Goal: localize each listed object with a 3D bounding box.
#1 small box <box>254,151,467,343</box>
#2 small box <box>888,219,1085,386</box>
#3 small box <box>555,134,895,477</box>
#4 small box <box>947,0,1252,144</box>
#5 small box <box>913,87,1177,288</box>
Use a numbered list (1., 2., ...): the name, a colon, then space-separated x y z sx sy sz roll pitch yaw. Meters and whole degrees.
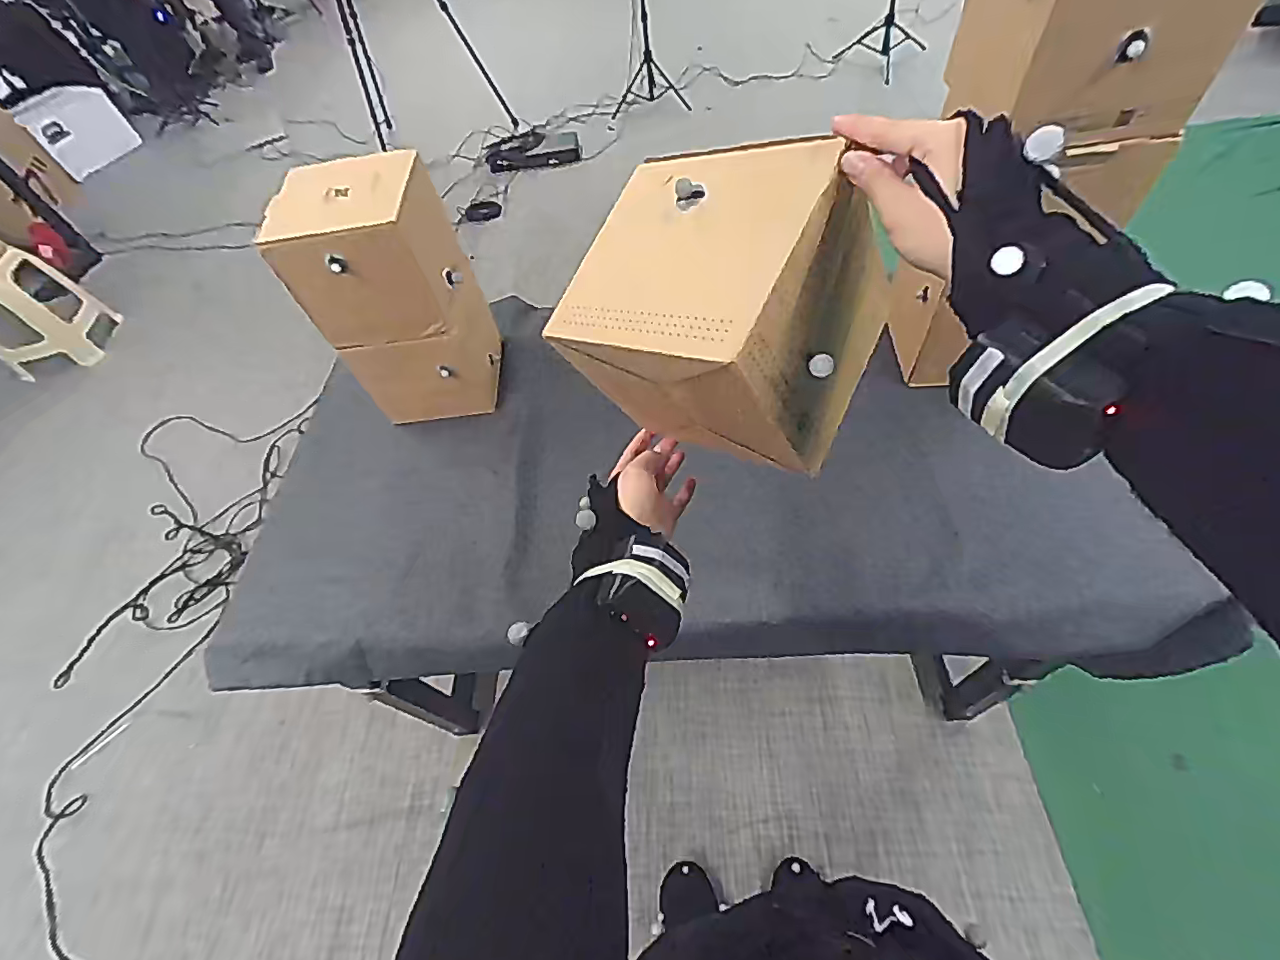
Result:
1. small box: -0.354 -0.302 0.723 0.179 0.176 0.168 -6 58 2
2. small box: 0.465 -0.256 0.767 0.168 0.176 0.179 -2 57 8
3. small box: 0.067 -0.124 0.423 0.179 0.168 0.176 22 79 40
4. small box: 0.413 -0.431 0.493 0.168 0.176 0.179 -3 56 6
5. small box: 0.441 -0.341 0.629 0.168 0.176 0.179 -2 58 8
